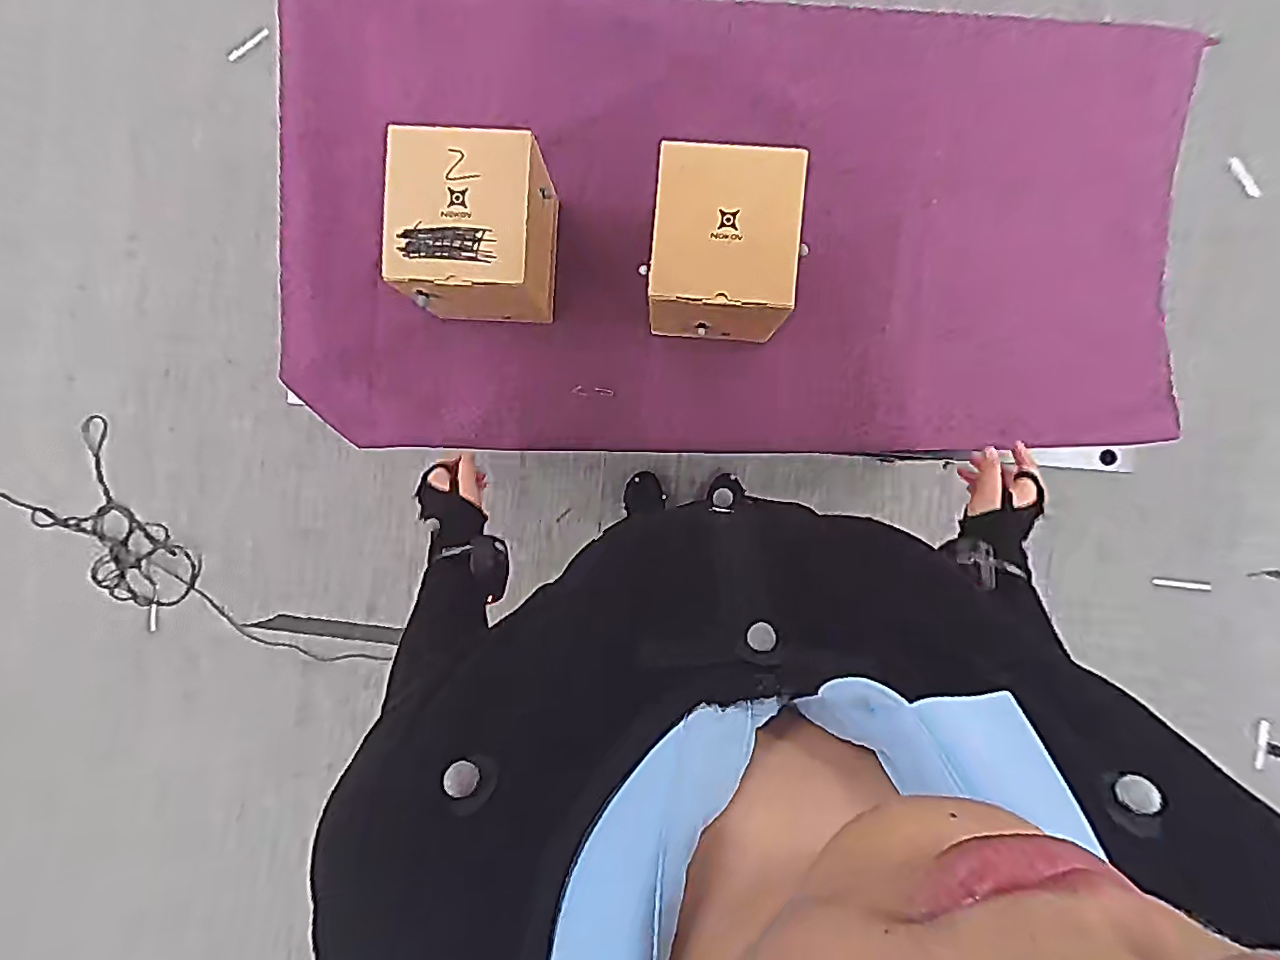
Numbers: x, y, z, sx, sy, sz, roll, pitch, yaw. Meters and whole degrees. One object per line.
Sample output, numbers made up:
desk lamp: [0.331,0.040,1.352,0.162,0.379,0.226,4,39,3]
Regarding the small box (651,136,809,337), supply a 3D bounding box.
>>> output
small box: [0.101,-0.291,0.680,0.168,0.176,0.179,5,92,2]
